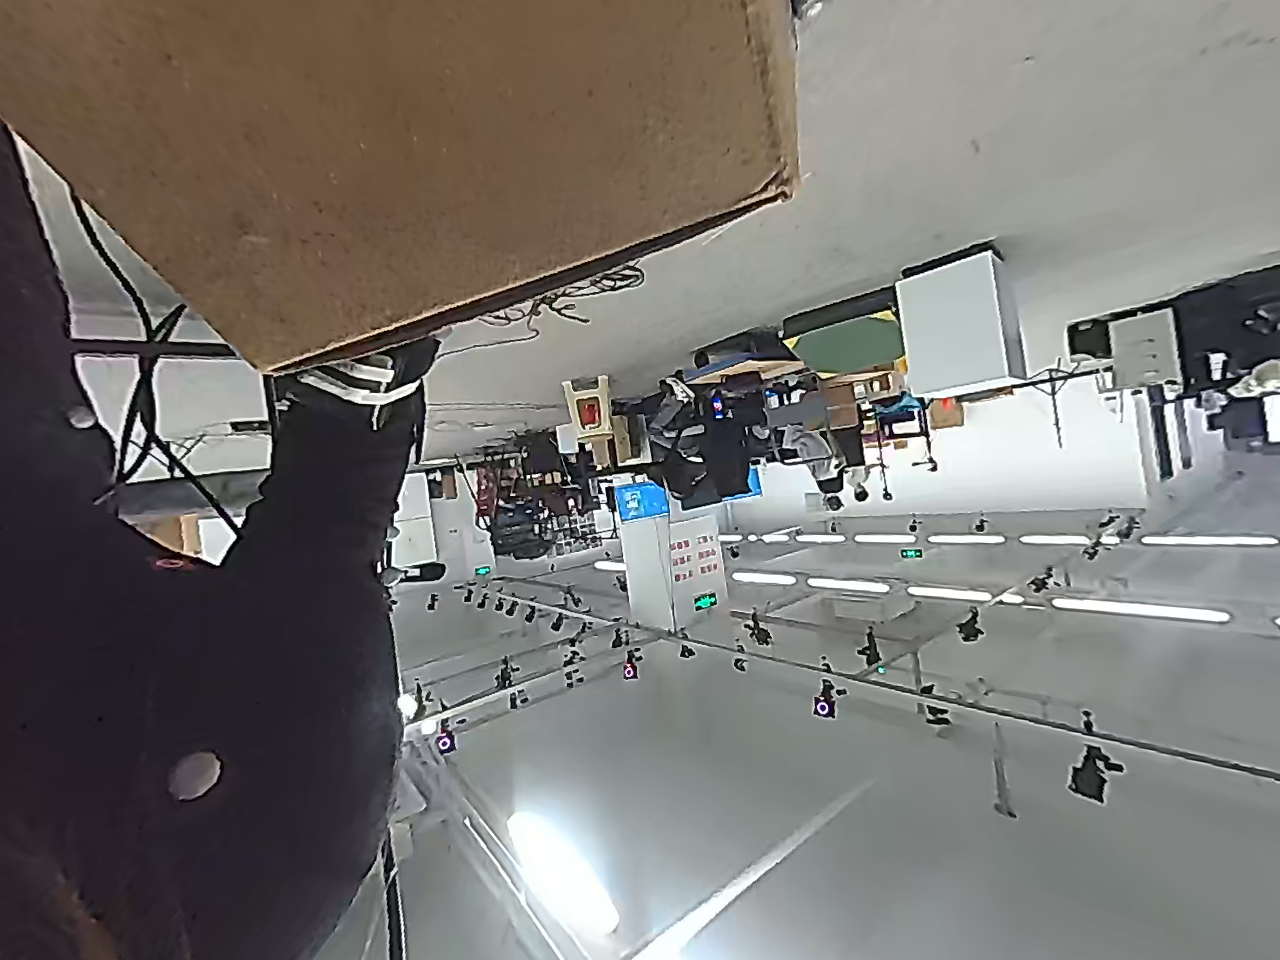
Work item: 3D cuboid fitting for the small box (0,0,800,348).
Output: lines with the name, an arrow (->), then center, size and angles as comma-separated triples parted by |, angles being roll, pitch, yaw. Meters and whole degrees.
small box -> -0.058, -0.166, 0.150 | 0.179, 0.176, 0.168 | -7, -137, 22

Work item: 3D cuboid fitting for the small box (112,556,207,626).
small box -> -1.423, 0.319, 1.610 | 0.179, 0.176, 0.168 | -7, 179, -31

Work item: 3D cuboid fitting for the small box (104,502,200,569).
small box -> -1.434, 0.157, 1.596 | 0.168, 0.176, 0.179 | -9, -179, -27
